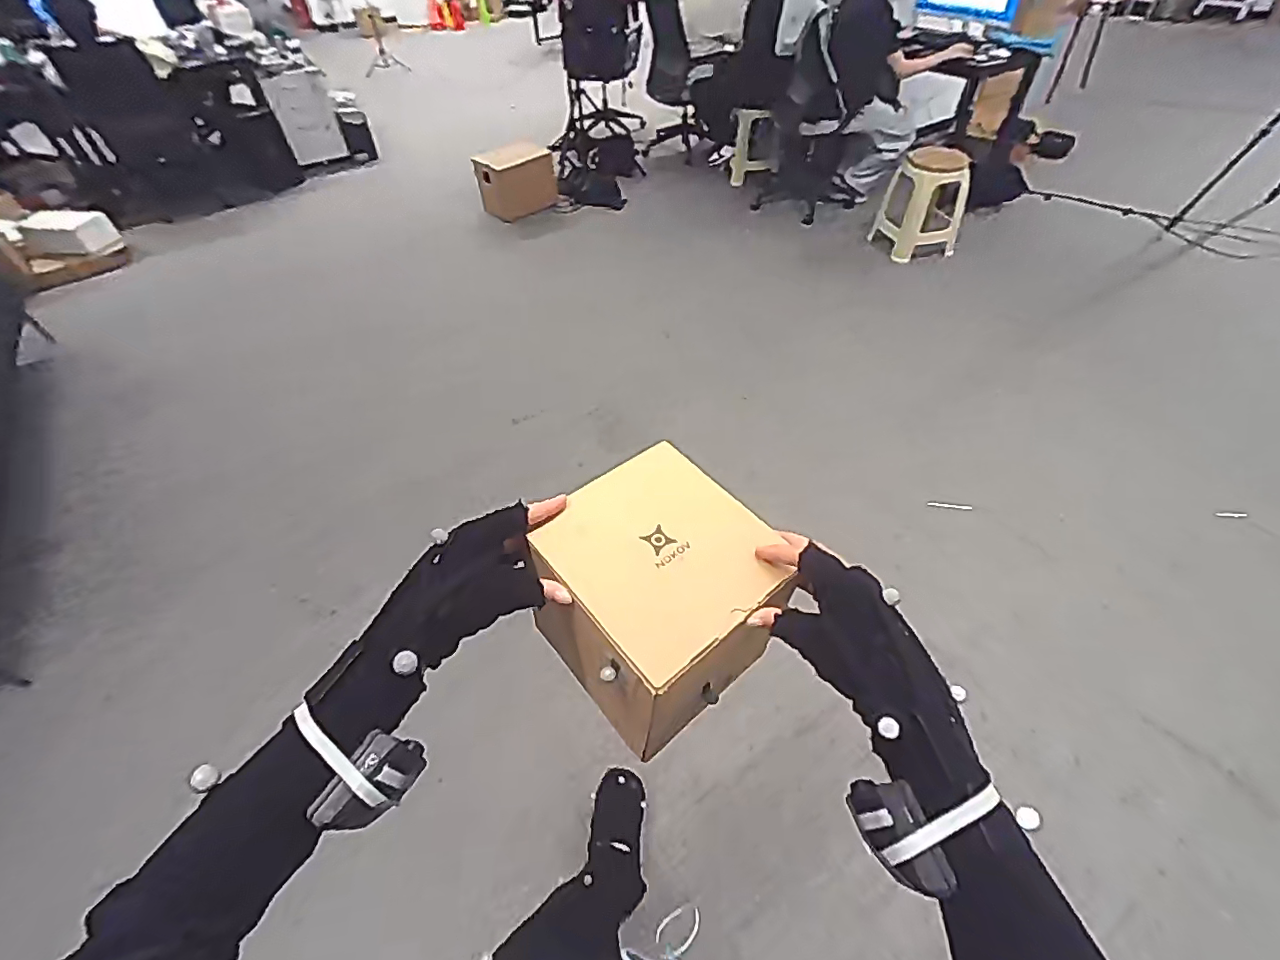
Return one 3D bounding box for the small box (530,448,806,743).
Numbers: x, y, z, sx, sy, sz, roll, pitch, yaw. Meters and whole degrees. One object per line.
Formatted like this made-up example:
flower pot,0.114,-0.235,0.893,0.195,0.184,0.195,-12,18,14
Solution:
small box,0.016,0.107,0.507,0.168,0.176,0.179,-31,58,-28
